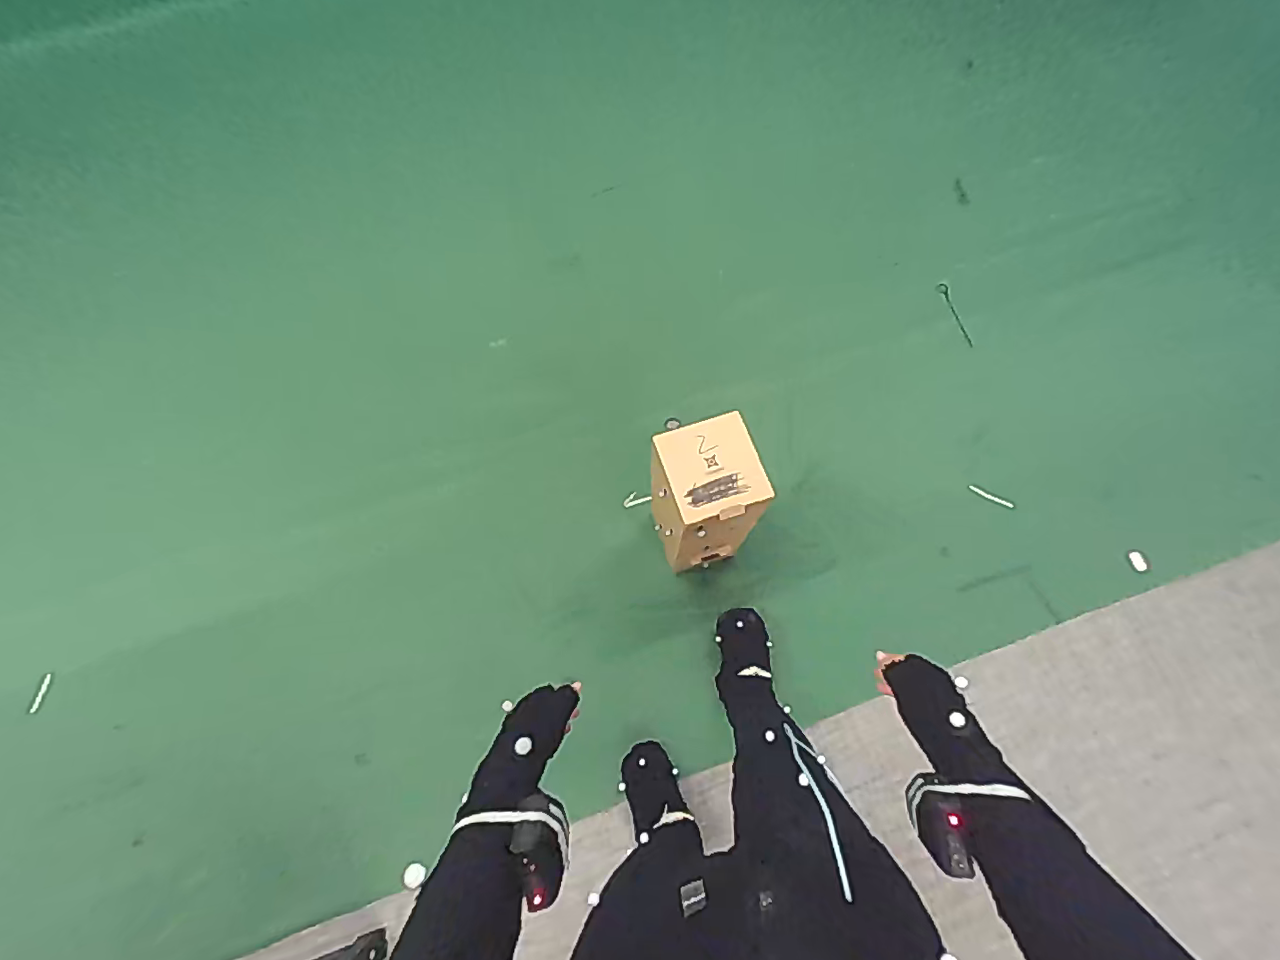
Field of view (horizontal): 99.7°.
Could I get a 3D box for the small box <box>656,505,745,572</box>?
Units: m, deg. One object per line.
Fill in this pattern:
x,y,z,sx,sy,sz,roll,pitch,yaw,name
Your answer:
0.138,0.109,1.324,0.168,0.176,0.179,-17,72,-4,small box

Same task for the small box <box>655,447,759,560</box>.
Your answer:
0.134,0.056,1.170,0.168,0.176,0.179,-18,72,-6,small box
